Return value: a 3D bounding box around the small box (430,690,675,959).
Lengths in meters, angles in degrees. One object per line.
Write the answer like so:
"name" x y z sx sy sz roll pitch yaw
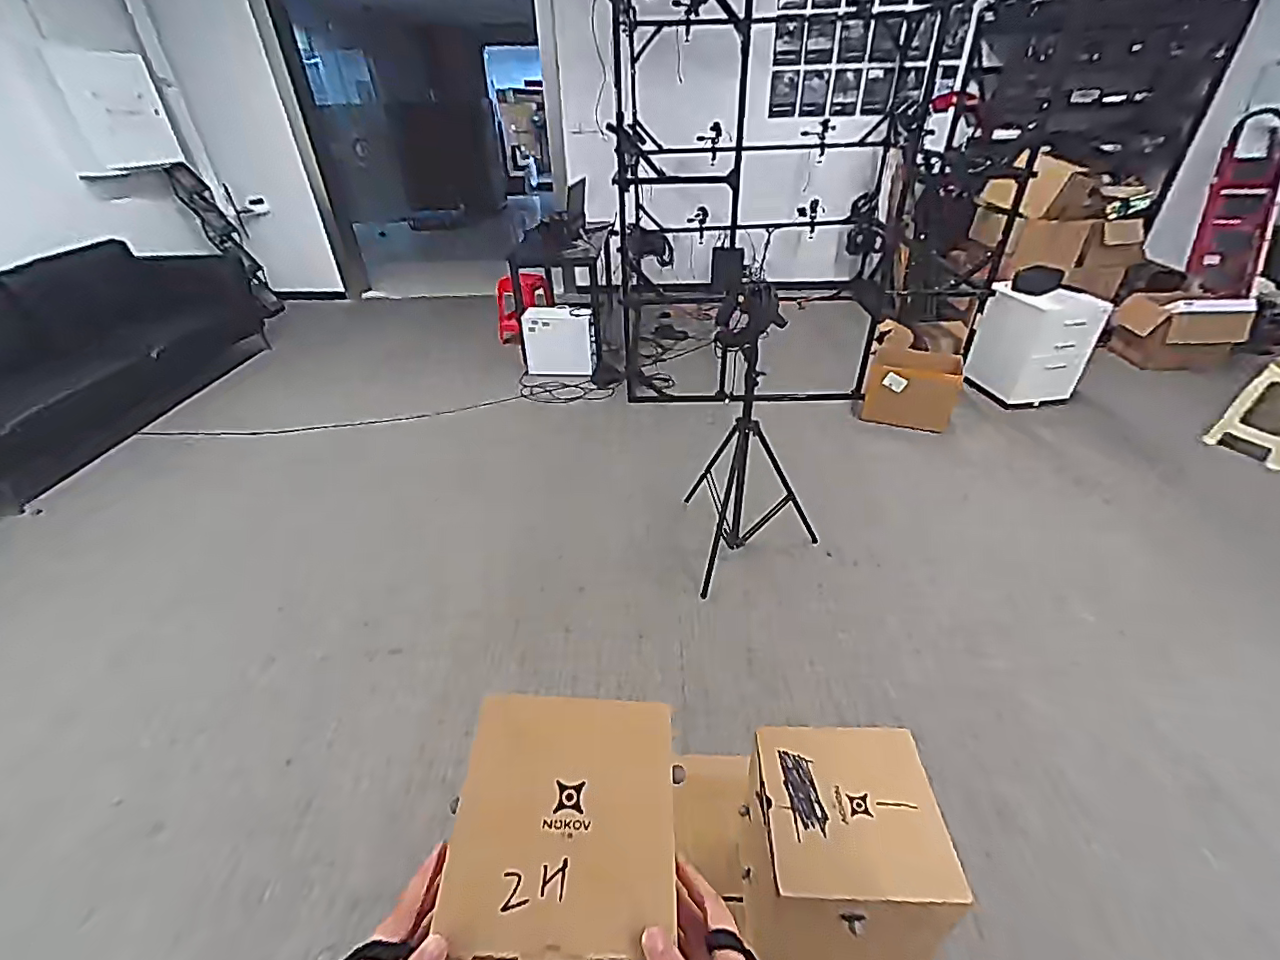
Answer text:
"small box" -0.063 0.308 0.471 0.168 0.176 0.179 4 43 -3

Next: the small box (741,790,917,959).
"small box" 0.223 0.530 0.695 0.168 0.176 0.179 -2 36 4

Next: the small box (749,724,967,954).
"small box" 0.218 0.395 0.600 0.179 0.176 0.168 -1 35 3
